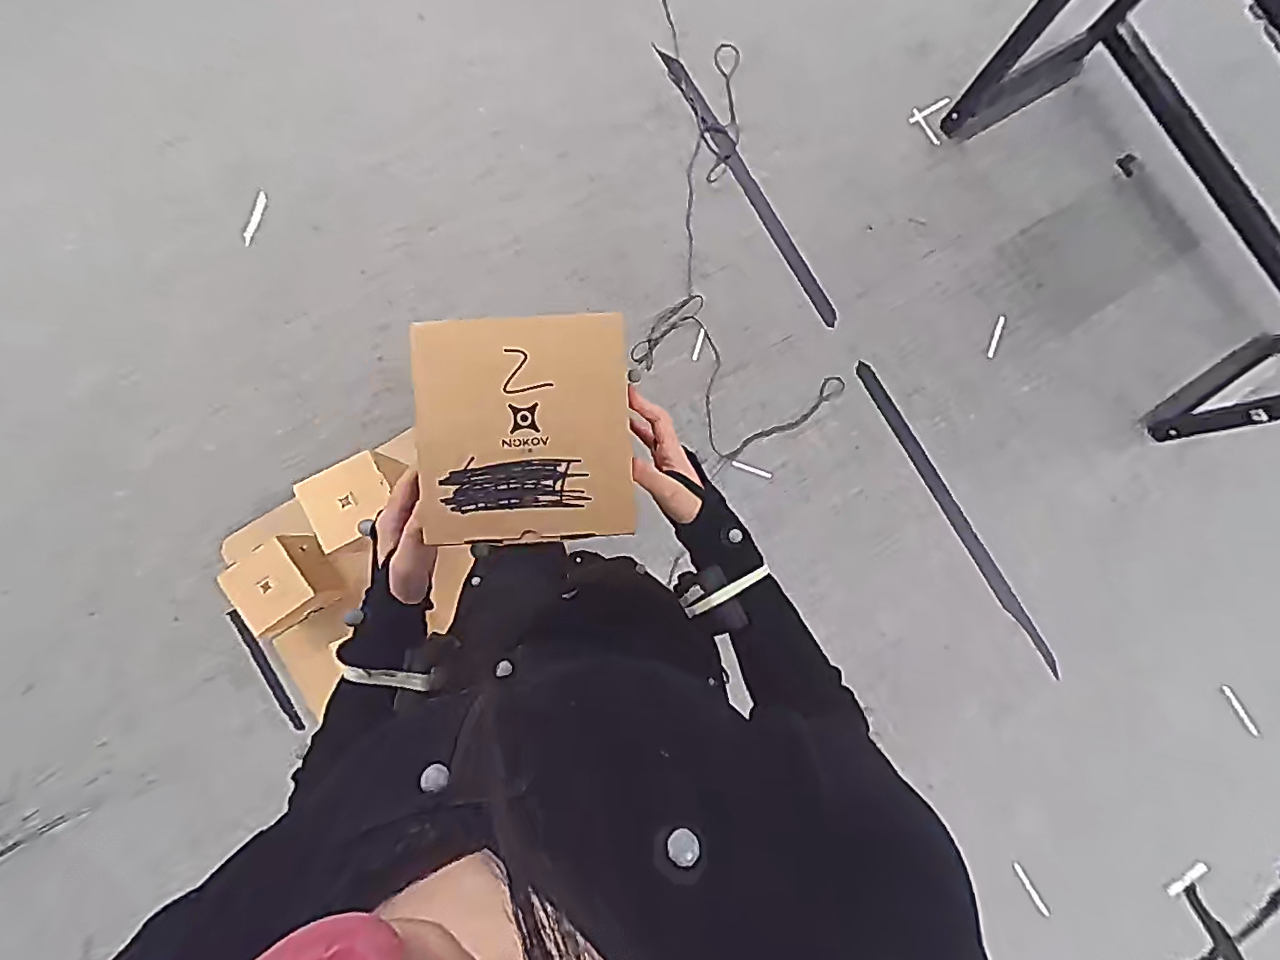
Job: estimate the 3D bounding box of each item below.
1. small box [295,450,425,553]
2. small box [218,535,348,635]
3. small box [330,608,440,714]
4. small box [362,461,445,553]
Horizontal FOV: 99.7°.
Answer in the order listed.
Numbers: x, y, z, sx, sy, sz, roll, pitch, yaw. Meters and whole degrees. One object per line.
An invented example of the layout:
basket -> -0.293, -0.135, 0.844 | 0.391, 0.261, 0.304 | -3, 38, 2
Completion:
small box -> -0.621, 0.055, 1.221 | 0.179, 0.176, 0.168 | -28, 86, -7
small box -> -0.879, 0.257, 1.347 | 0.168, 0.176, 0.179 | -37, 87, -6
small box -> -0.620, 0.439, 1.340 | 0.168, 0.176, 0.179 | -23, 87, -6
small box -> -0.632, 0.075, 1.382 | 0.179, 0.176, 0.168 | -32, 87, -8
